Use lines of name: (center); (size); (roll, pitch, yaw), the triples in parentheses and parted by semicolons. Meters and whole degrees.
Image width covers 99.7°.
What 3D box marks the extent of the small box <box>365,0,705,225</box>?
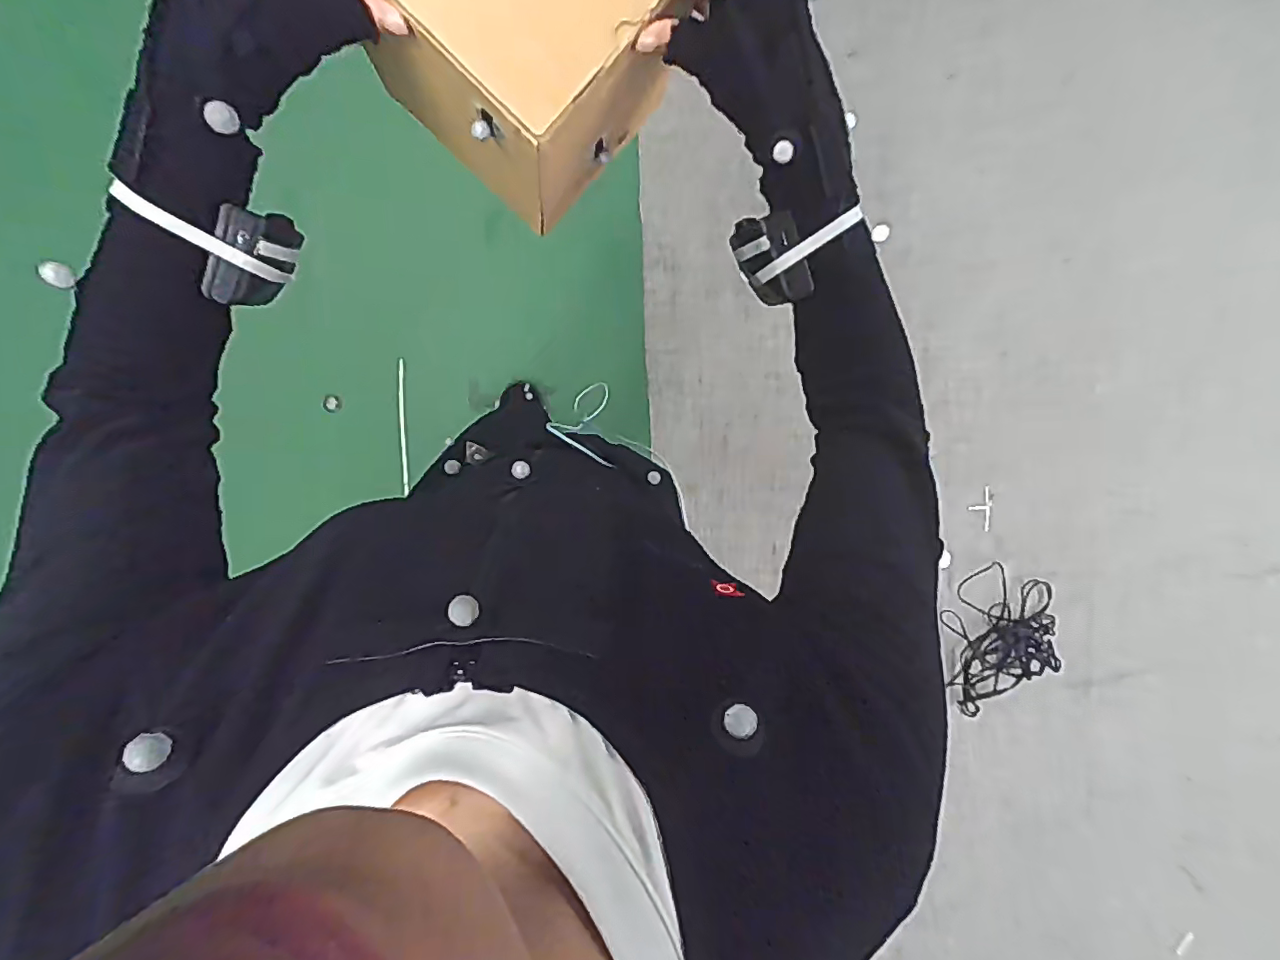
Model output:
small box: (-0.080, -0.328, 0.396); (0.179, 0.176, 0.168); (42, 88, -12)
